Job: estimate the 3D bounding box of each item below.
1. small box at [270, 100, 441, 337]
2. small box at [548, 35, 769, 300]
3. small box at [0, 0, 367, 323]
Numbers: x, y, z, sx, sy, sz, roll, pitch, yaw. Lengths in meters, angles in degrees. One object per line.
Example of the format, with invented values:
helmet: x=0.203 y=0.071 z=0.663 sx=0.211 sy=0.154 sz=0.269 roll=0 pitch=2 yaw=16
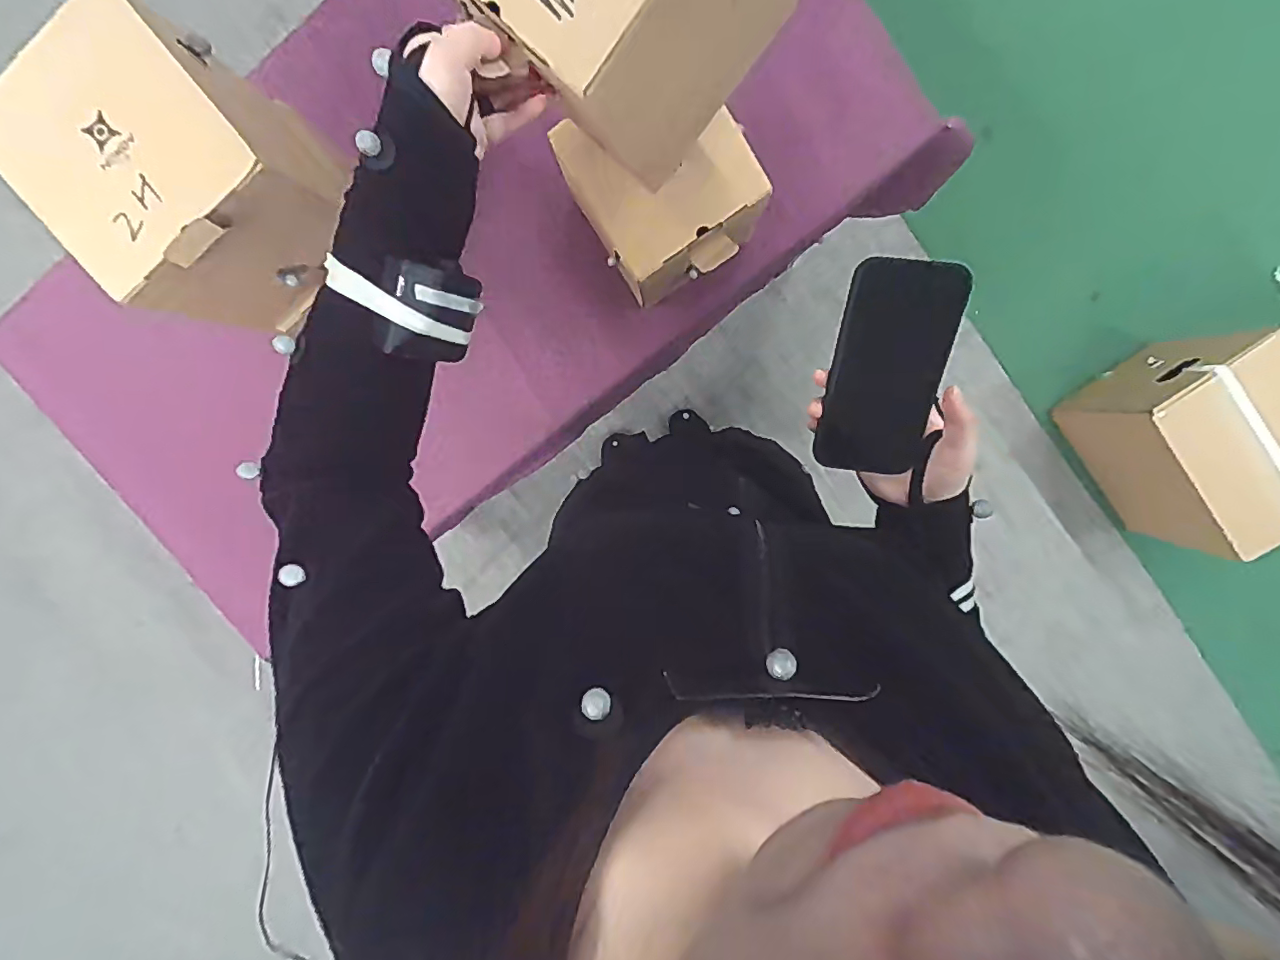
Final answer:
small box: x=-0.377 y=-0.290 z=0.652 sx=0.168 sy=0.176 sz=0.179 roll=-38 pitch=95 yaw=7
small box: x=0.020 y=-0.336 z=0.625 sx=0.168 sy=0.176 sz=0.179 roll=-32 pitch=96 yaw=7
small box: x=-0.398 y=-0.267 z=0.489 sx=0.168 sy=0.176 sz=0.179 roll=-38 pitch=95 yaw=7
